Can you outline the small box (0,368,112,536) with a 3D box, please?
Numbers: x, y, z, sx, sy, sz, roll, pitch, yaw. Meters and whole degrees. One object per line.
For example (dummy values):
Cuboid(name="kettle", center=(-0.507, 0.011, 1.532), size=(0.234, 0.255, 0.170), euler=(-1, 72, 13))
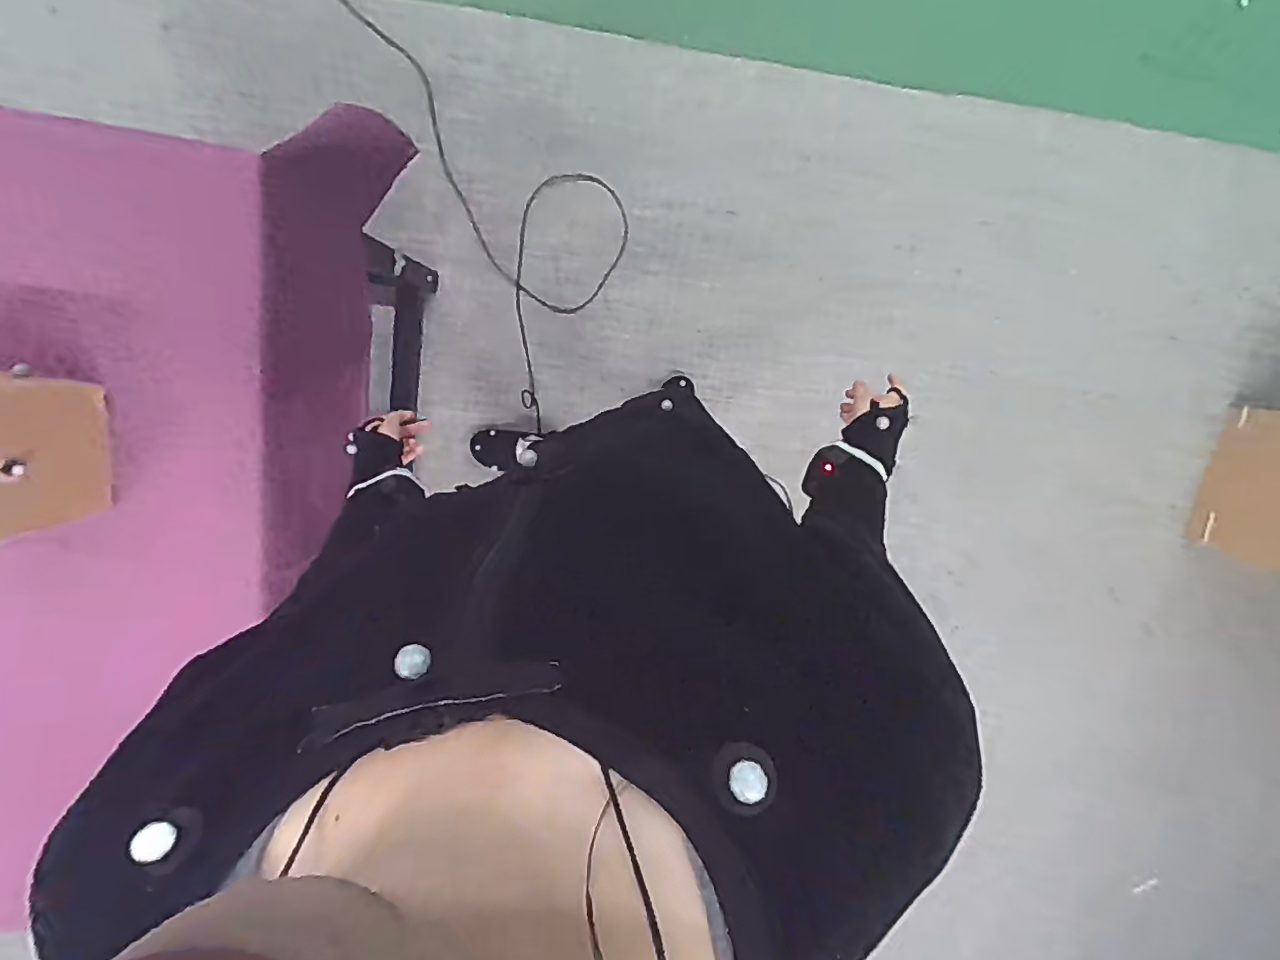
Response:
Cuboid(name="small box", center=(-0.783, -0.035, 0.641), size=(0.168, 0.176, 0.179), euler=(7, 101, -4))
